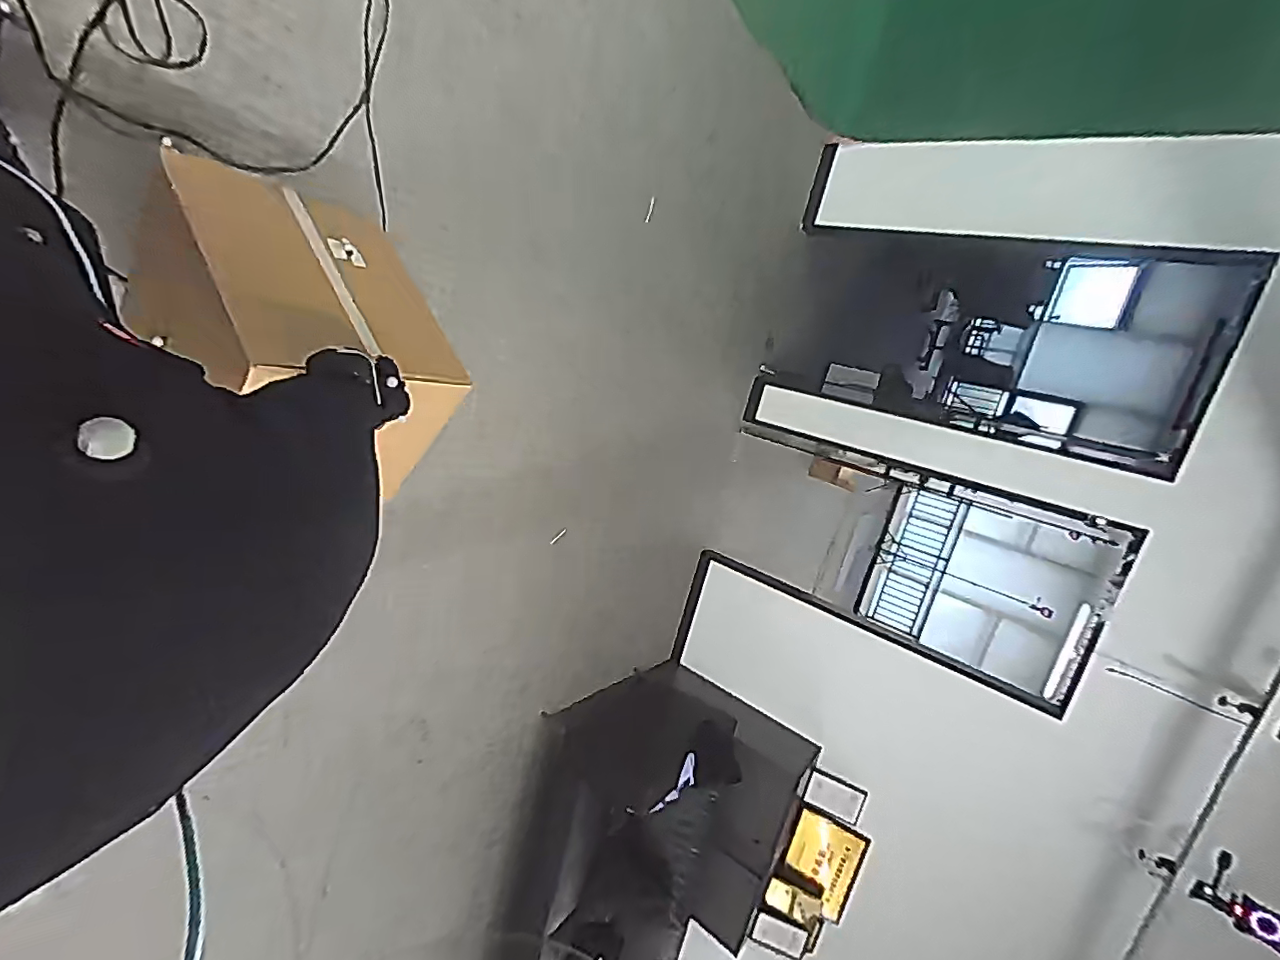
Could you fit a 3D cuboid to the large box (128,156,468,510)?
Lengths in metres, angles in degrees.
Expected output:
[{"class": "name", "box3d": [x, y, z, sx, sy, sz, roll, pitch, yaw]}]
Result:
[{"class": "large box", "box3d": [-0.561, -0.212, 0.882, 0.320, 0.408, 0.320, -44, 160, 28]}]
